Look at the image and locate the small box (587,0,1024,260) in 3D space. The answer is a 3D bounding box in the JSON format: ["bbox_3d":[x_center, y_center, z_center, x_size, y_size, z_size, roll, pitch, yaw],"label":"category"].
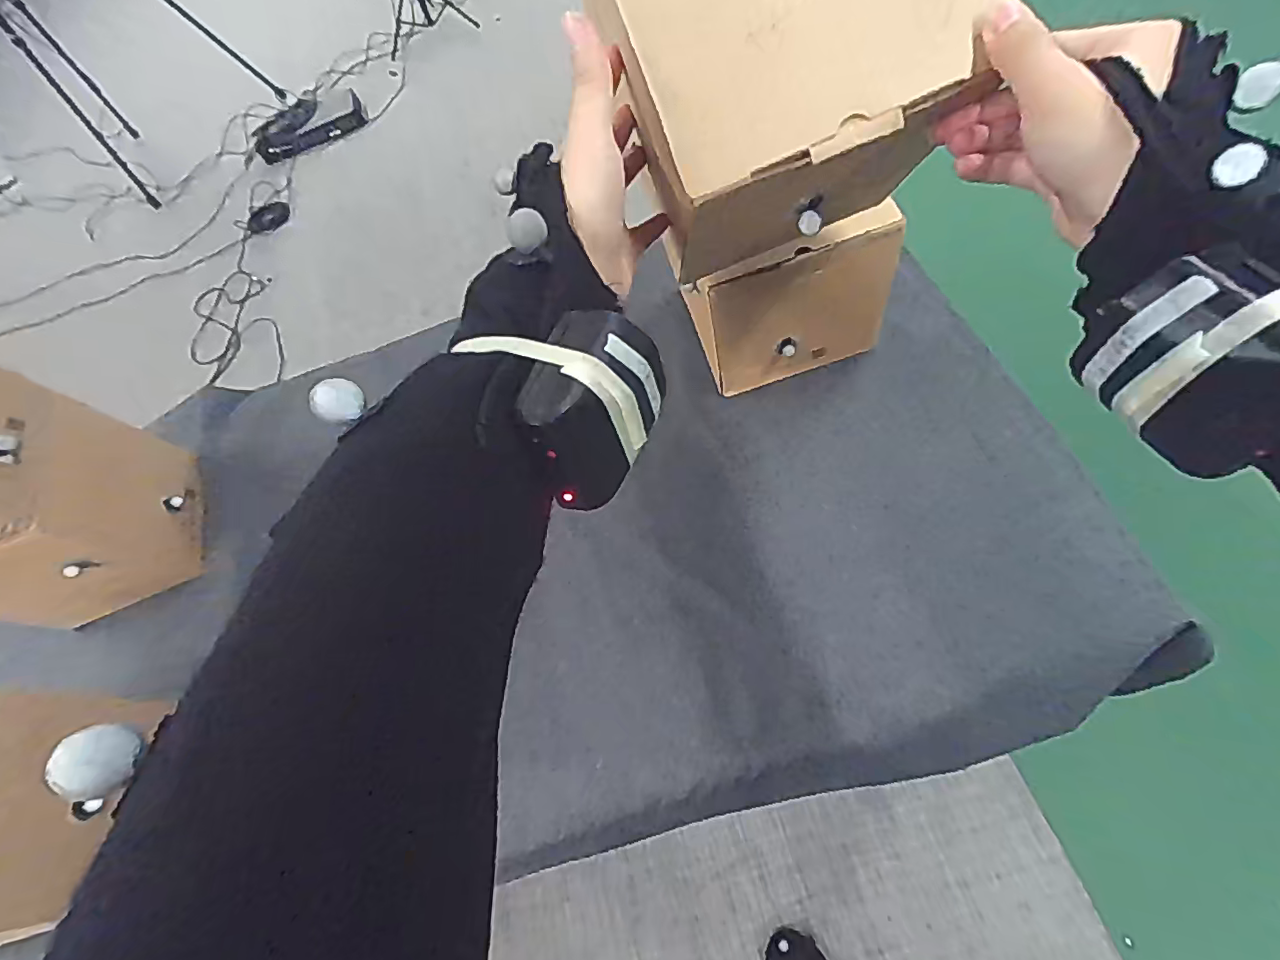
[{"bbox_3d":[0.071,-0.251,0.320,0.168,0.176,0.179,-21,96,5],"label":"small box"}]

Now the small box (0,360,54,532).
[{"bbox_3d":[-0.664,-0.030,0.447,0.179,0.176,0.168,-23,66,0],"label":"small box"}]

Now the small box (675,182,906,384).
[{"bbox_3d":[0.128,-0.227,0.539,0.168,0.176,0.179,-18,65,5],"label":"small box"}]
